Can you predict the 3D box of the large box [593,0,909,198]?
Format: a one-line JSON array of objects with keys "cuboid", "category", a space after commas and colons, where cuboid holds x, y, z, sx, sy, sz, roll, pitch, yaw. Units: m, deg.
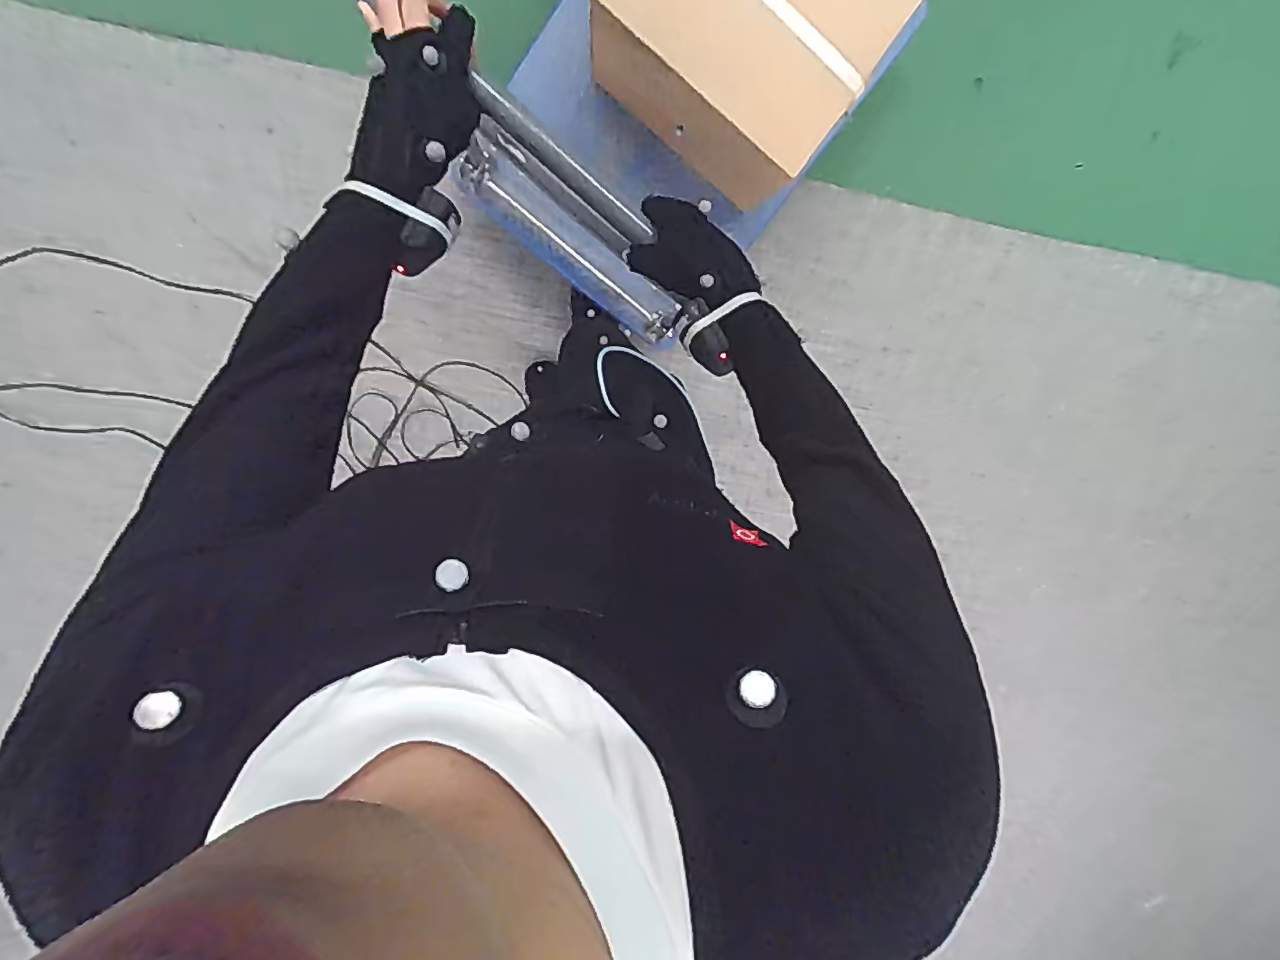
[{"cuboid": [0.169, -0.777, 0.946, 0.408, 0.320, 0.320, 34, 102, -13], "category": "large box"}]
